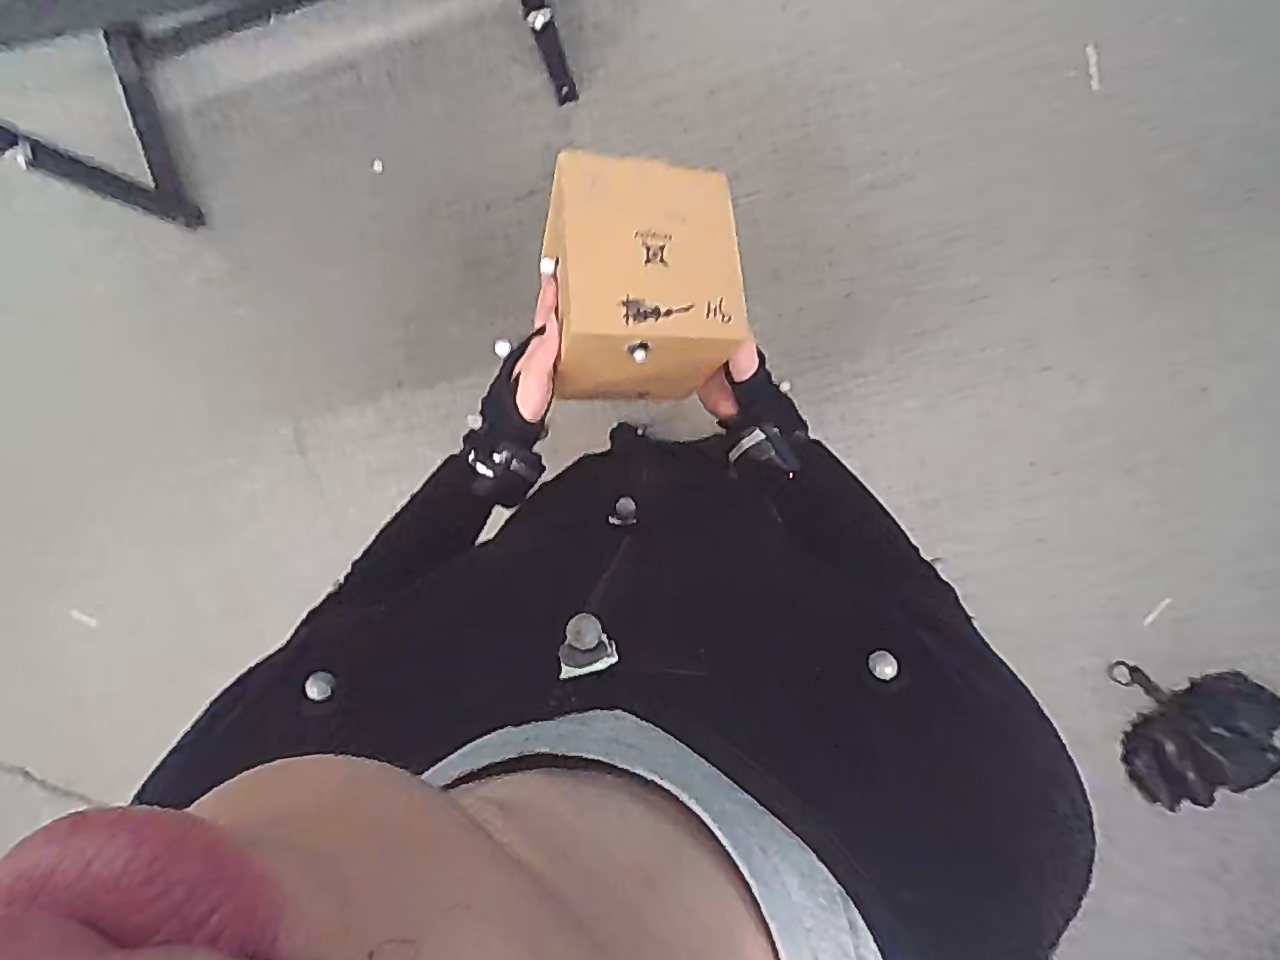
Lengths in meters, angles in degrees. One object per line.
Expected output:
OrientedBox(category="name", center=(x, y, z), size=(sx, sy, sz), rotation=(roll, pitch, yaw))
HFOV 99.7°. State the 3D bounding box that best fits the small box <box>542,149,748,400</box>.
OrientedBox(category="small box", center=(-0.008, -0.195, 0.559), size=(0.168, 0.176, 0.179), rotation=(-3, 79, -15))
